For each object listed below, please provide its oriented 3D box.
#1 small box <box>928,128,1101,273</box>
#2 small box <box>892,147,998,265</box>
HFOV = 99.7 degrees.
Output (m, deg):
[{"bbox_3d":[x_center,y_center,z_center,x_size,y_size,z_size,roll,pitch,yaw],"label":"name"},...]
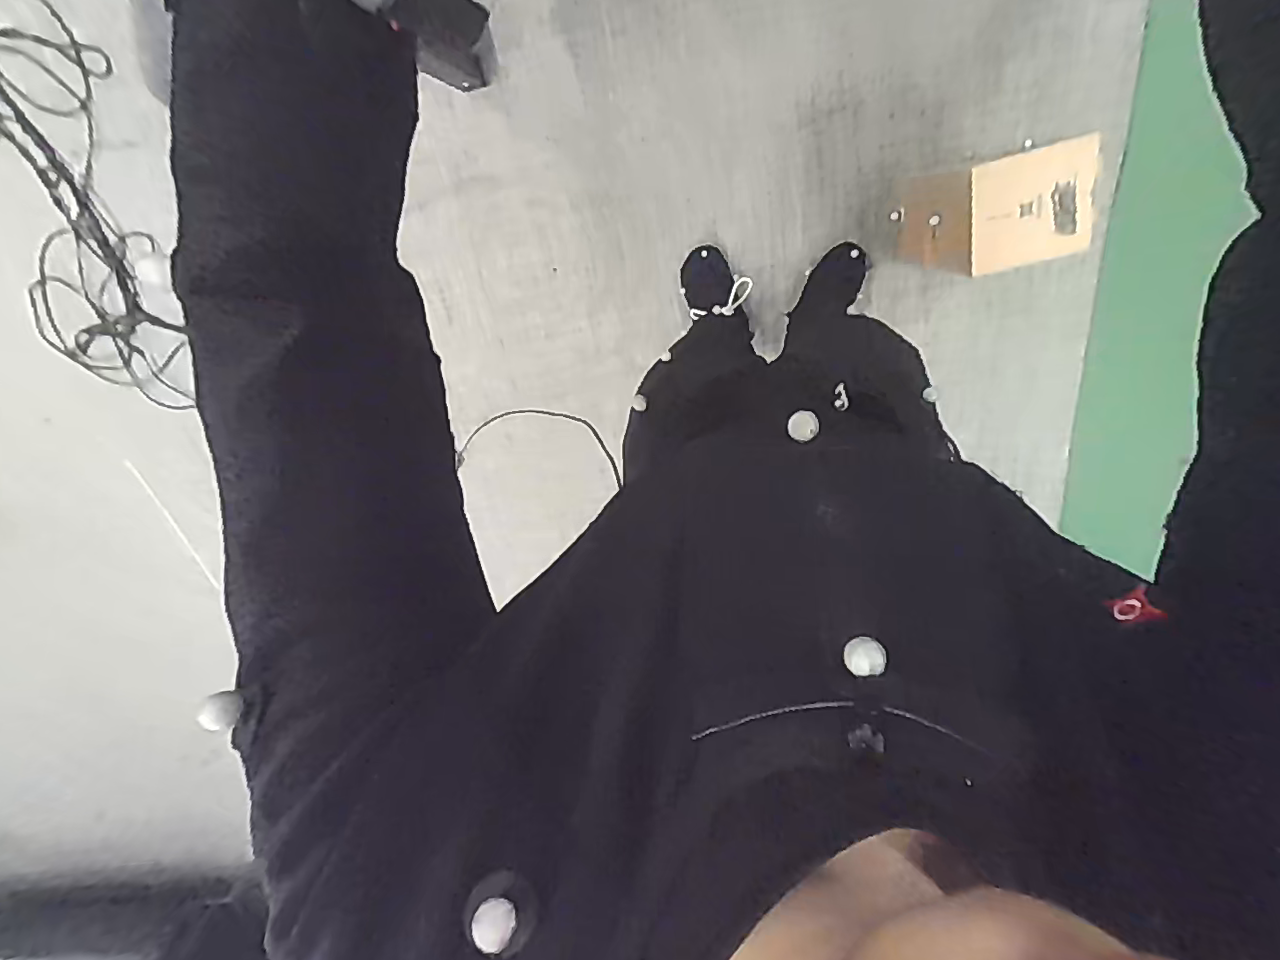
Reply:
[{"bbox_3d":[0.603,-0.457,0.893,0.179,0.176,0.168,-12,115,11],"label":"small box"},{"bbox_3d":[0.609,-0.528,1.041,0.179,0.176,0.168,-12,115,11],"label":"small box"}]
